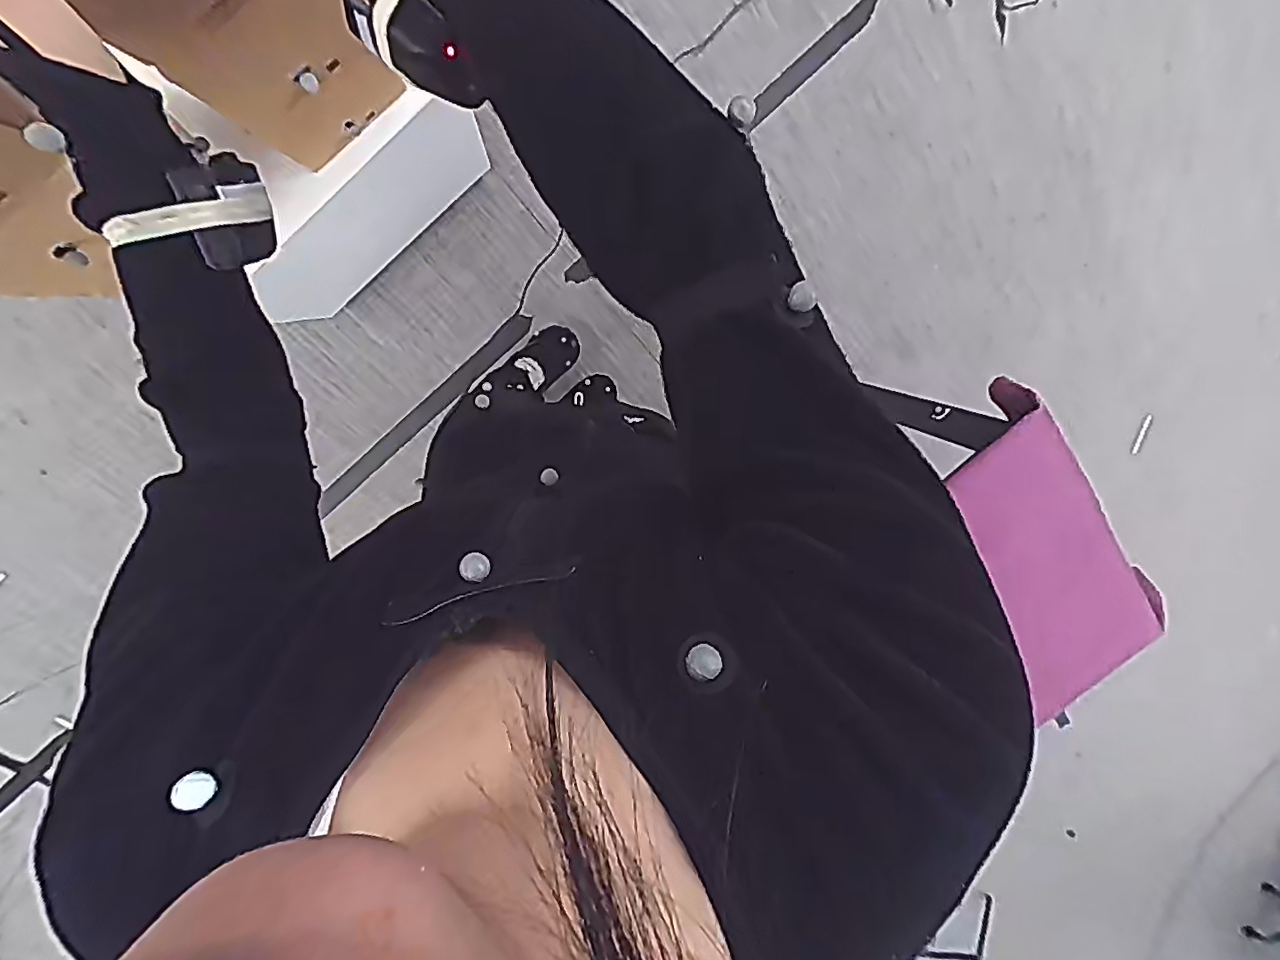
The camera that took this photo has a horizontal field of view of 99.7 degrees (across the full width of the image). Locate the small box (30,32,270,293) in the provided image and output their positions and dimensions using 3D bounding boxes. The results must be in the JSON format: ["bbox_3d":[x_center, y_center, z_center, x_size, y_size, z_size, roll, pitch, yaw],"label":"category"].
[{"bbox_3d":[-0.581,-0.330,0.611,0.168,0.176,0.179,-40,109,5],"label":"small box"}]

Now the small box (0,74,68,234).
[{"bbox_3d":[-0.521,-0.231,0.307,0.168,0.176,0.179,-42,111,6],"label":"small box"}]

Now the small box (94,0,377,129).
[{"bbox_3d":[-0.357,-0.436,0.443,0.168,0.176,0.179,-39,112,4],"label":"small box"}]

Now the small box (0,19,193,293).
[{"bbox_3d":[-0.550,-0.279,0.460,0.168,0.176,0.179,-42,110,4],"label":"small box"}]
